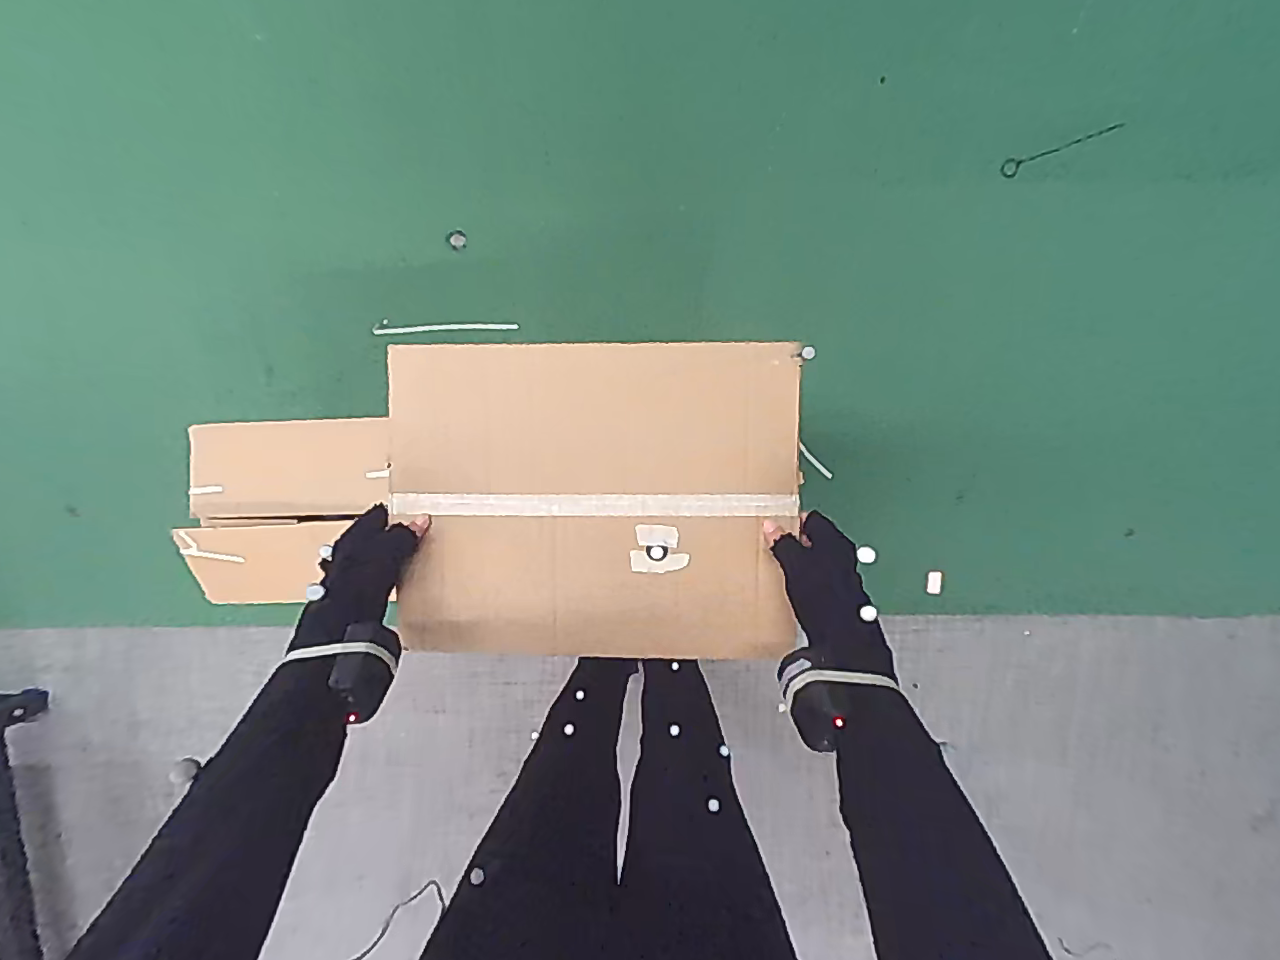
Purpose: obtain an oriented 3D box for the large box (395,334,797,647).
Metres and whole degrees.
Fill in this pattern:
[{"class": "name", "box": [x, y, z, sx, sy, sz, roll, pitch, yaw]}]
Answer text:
[{"class": "large box", "box": [-0.040, 0.005, 0.687, 0.408, 0.320, 0.320, 0, 95, 2]}]
